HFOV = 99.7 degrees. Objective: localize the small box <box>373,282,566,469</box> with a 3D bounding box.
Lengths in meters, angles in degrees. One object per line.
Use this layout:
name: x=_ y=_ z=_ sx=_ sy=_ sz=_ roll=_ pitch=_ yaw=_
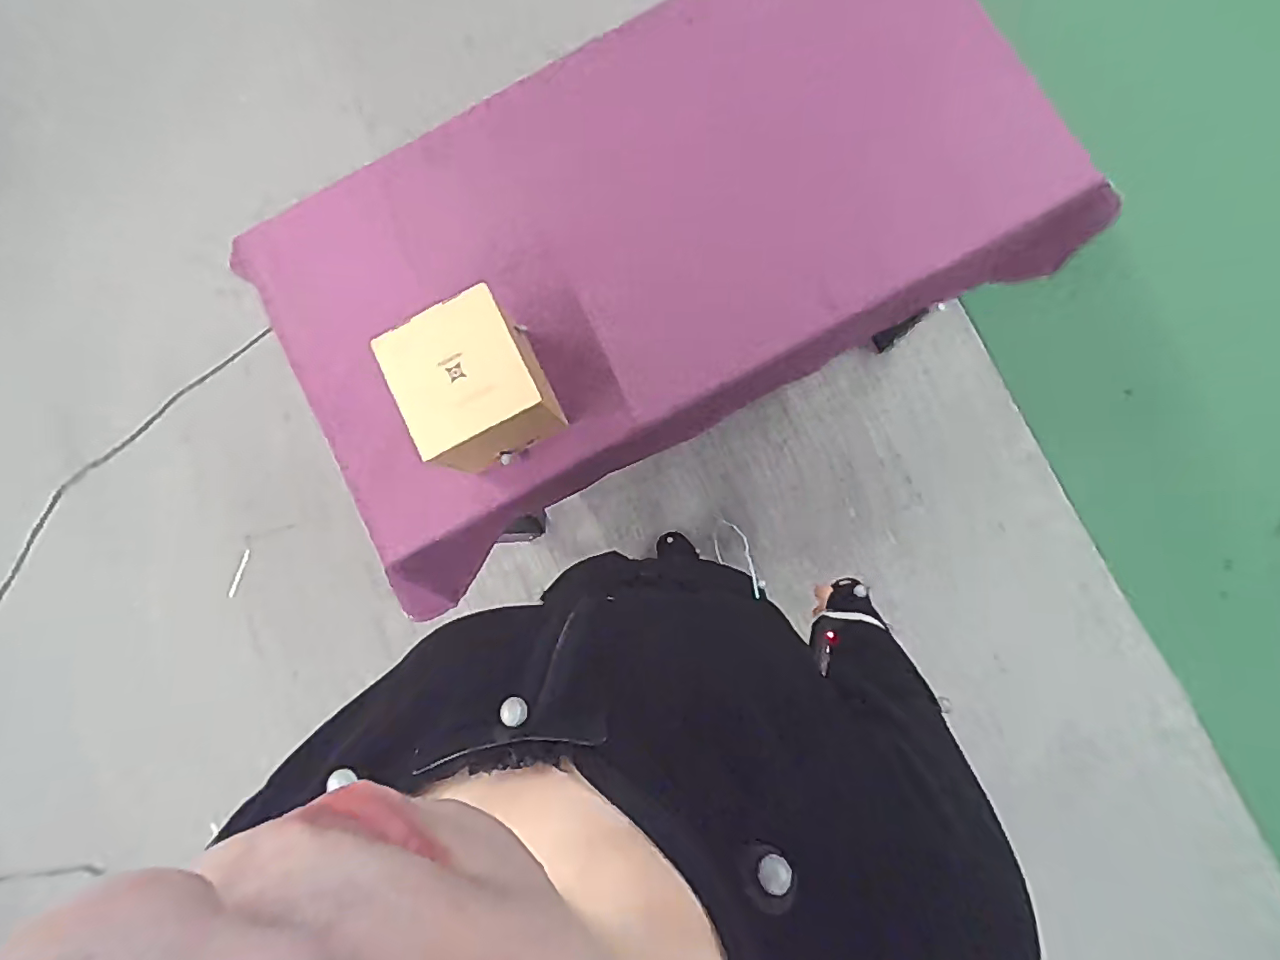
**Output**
small box: x=-0.222 y=-0.131 z=0.748 sx=0.168 sy=0.176 sz=0.179 roll=-27 pitch=83 yaw=2
